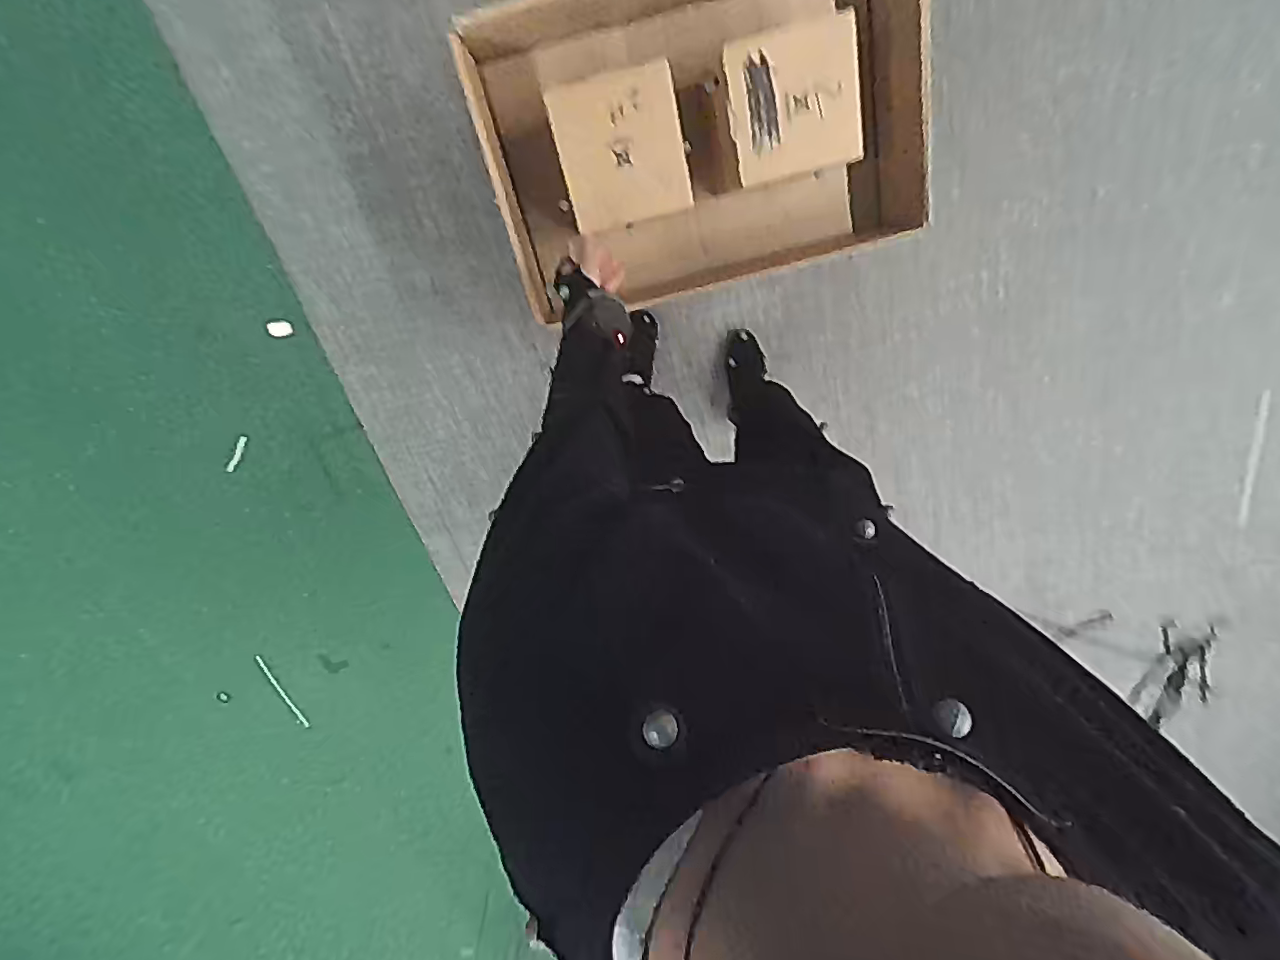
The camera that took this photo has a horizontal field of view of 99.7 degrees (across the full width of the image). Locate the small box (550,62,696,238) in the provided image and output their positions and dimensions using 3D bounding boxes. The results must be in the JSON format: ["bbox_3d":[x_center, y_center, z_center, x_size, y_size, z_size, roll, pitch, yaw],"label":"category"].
[{"bbox_3d":[-0.023,-0.466,0.791,0.168,0.176,0.179,-14,114,1],"label":"small box"}]
